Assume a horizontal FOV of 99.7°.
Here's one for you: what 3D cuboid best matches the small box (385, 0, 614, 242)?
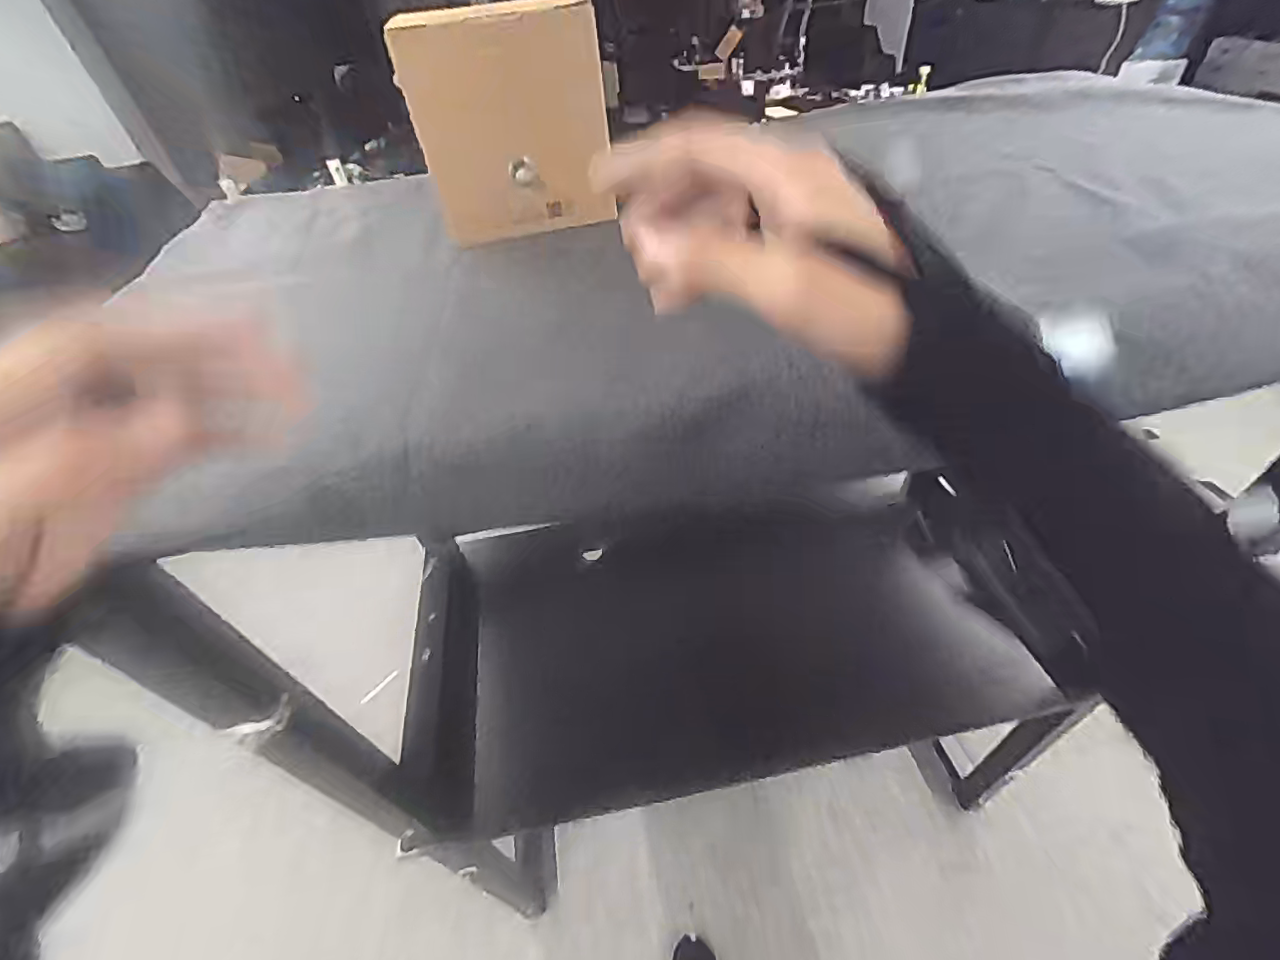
[{"bbox_3d":[-0.128,-0.358,0.537,0.168,0.176,0.179,-13,45,-6],"label":"small box"}]
